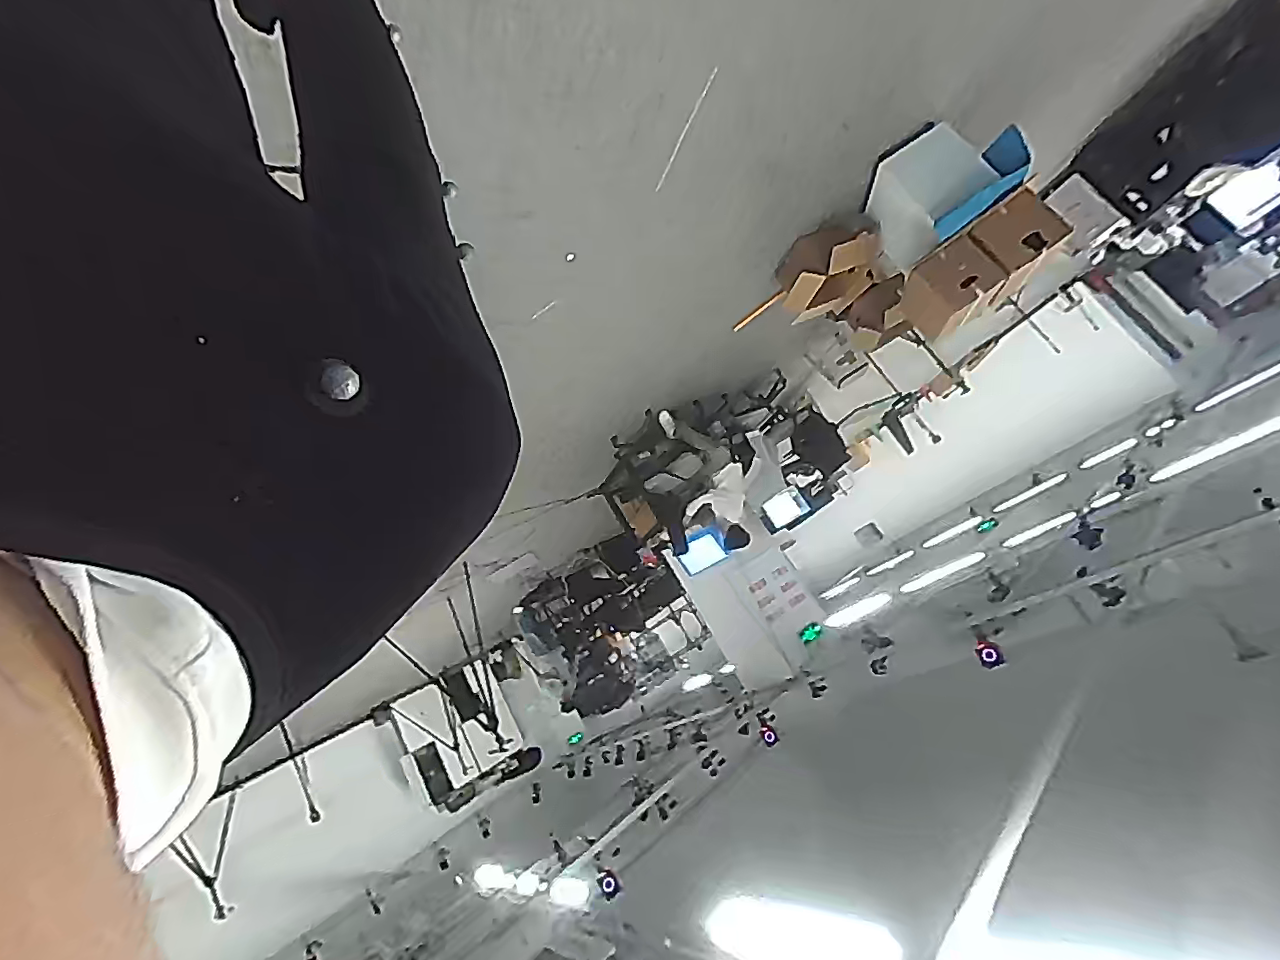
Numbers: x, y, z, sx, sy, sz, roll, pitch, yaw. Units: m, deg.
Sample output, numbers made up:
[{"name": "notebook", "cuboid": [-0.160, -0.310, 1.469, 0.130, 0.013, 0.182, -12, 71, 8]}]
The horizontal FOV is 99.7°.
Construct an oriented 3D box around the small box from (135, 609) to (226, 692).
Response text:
[{"name": "small box", "cuboid": [-1.401, 0.514, 1.652, 0.168, 0.176, 0.179, -19, 161, -36]}]
